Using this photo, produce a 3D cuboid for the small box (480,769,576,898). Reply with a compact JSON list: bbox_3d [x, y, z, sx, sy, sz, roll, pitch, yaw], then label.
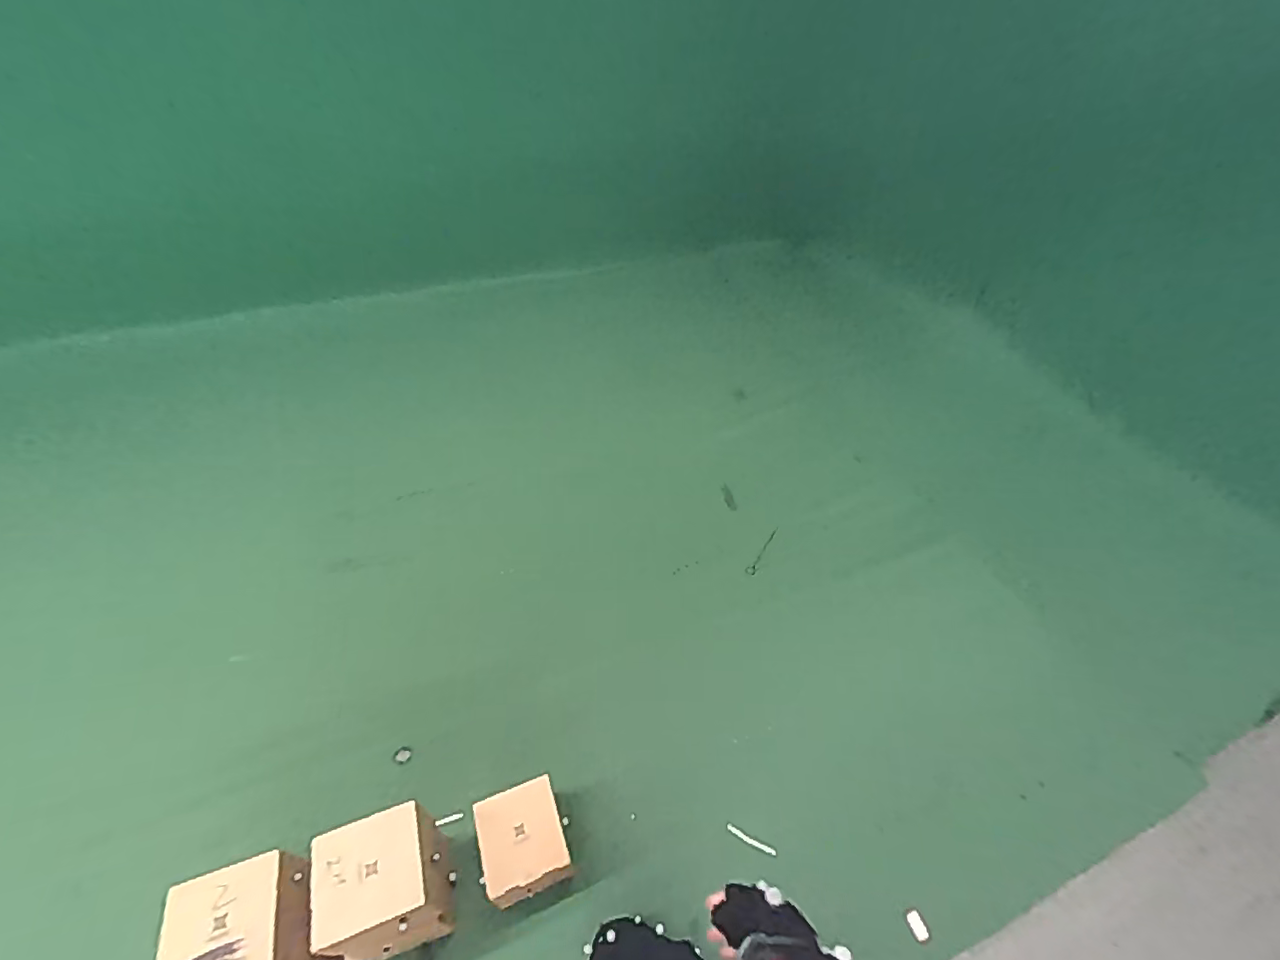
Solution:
[{"bbox_3d":[-0.242,0.774,1.182,0.168,0.176,0.179,-15,51,-17],"label":"small box"}]
